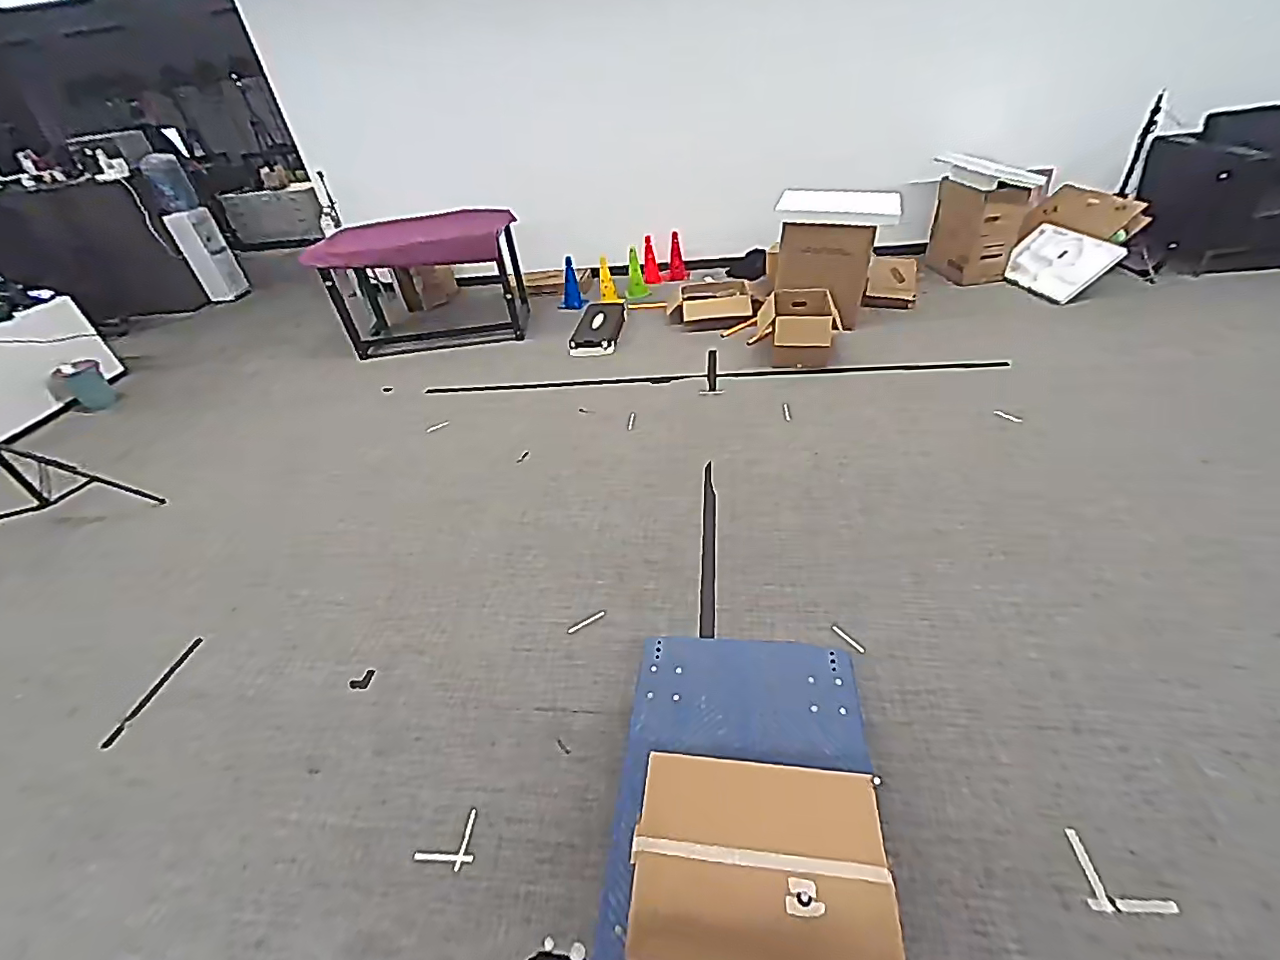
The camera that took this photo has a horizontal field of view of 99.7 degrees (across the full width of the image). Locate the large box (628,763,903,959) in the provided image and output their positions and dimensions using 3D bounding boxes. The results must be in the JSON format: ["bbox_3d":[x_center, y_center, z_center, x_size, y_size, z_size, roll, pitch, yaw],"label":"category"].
[{"bbox_3d":[0.204,0.748,0.964,0.408,0.320,0.320,2,40,9],"label":"large box"}]
